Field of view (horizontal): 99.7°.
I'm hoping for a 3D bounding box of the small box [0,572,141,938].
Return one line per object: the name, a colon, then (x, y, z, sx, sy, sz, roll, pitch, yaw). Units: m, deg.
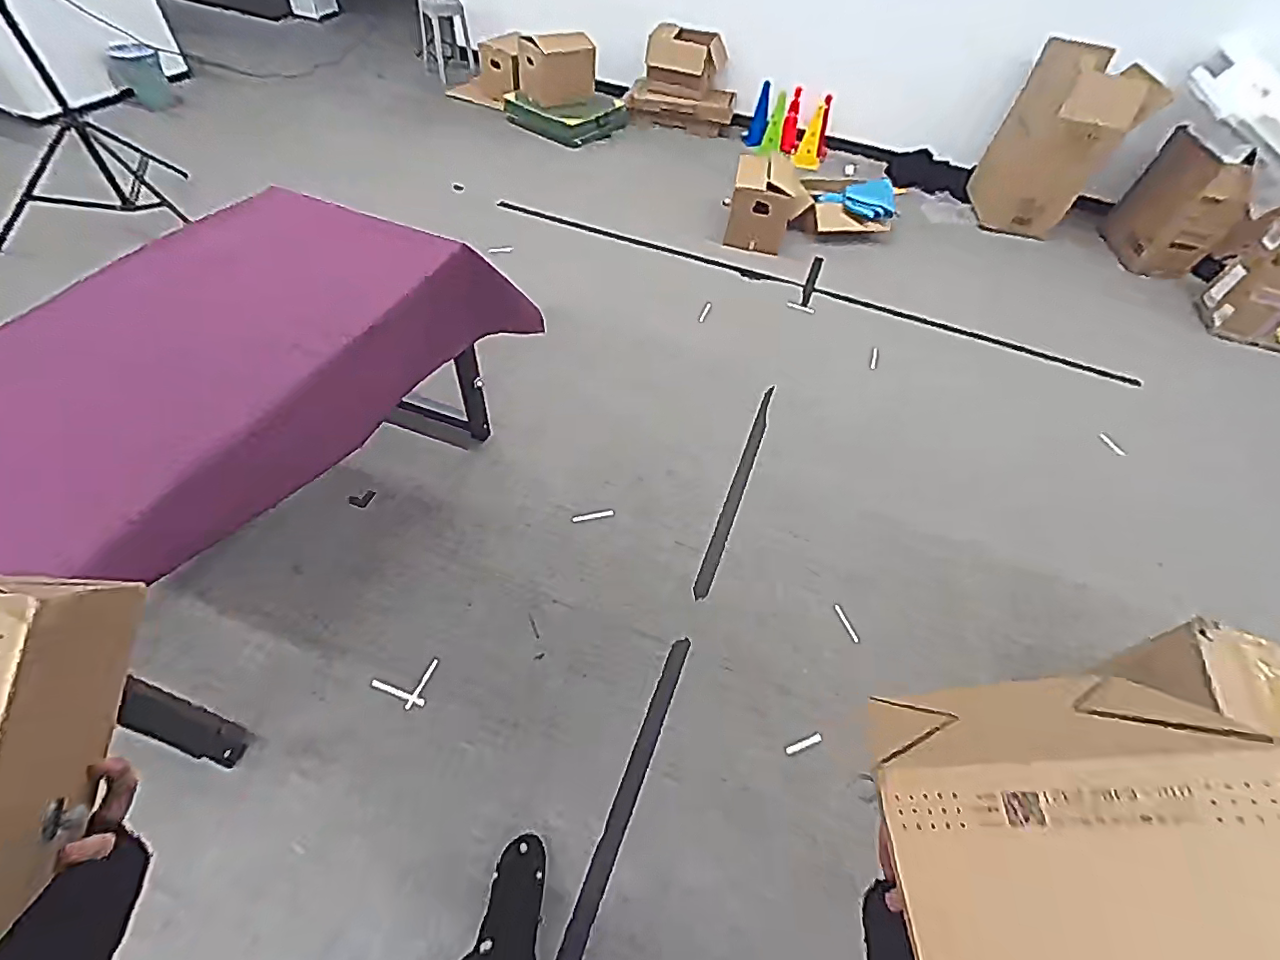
small box: (-0.383, 0.126, 0.260, 0.168, 0.179, 0.176, 8, 76, -29)
